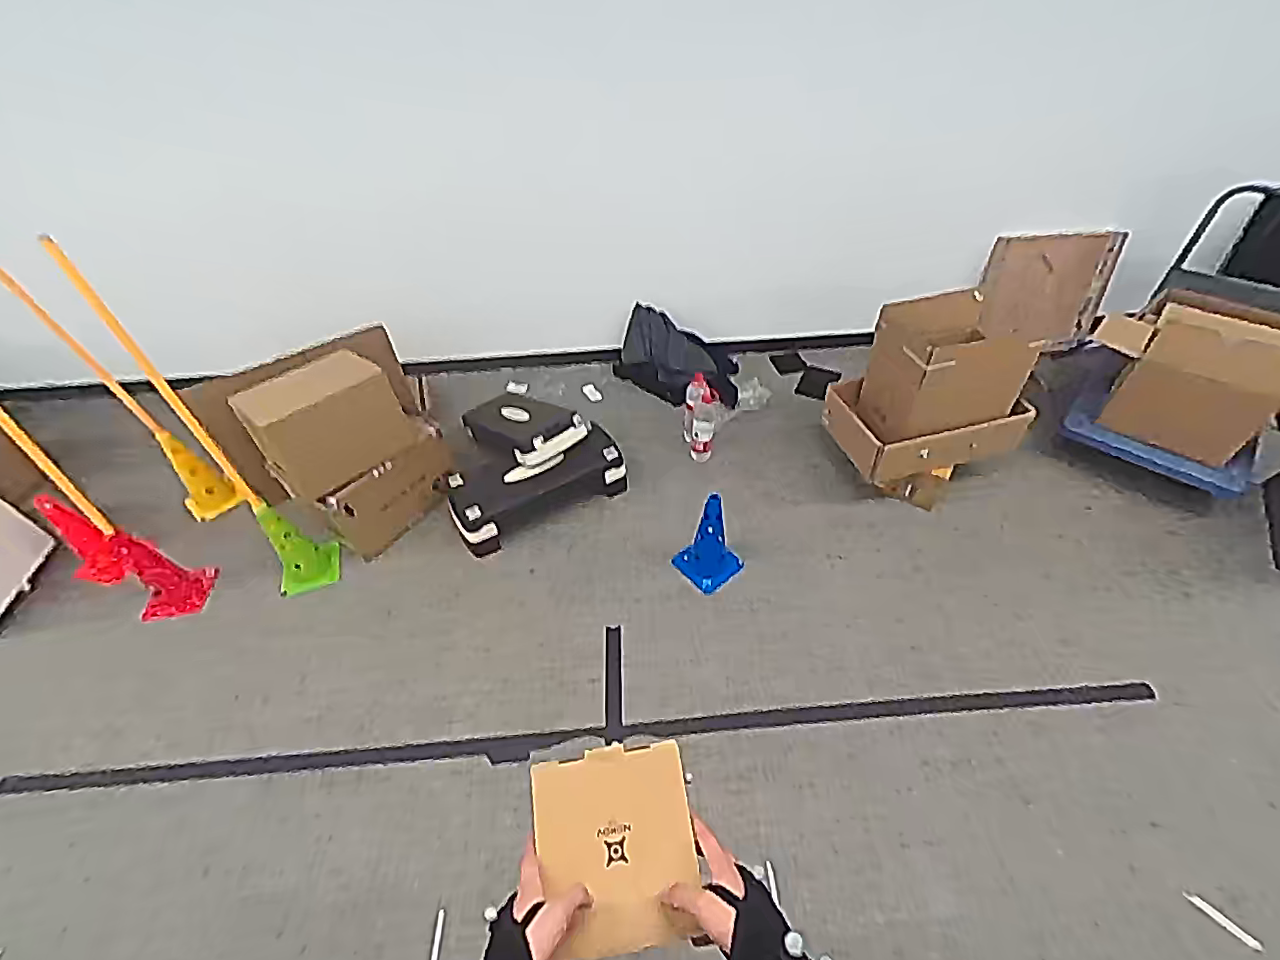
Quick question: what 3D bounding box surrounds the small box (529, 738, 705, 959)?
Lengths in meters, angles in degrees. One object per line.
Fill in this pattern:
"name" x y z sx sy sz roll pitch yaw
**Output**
"small box" -0.030 0.407 0.624 0.168 0.176 0.179 -7 62 -6
